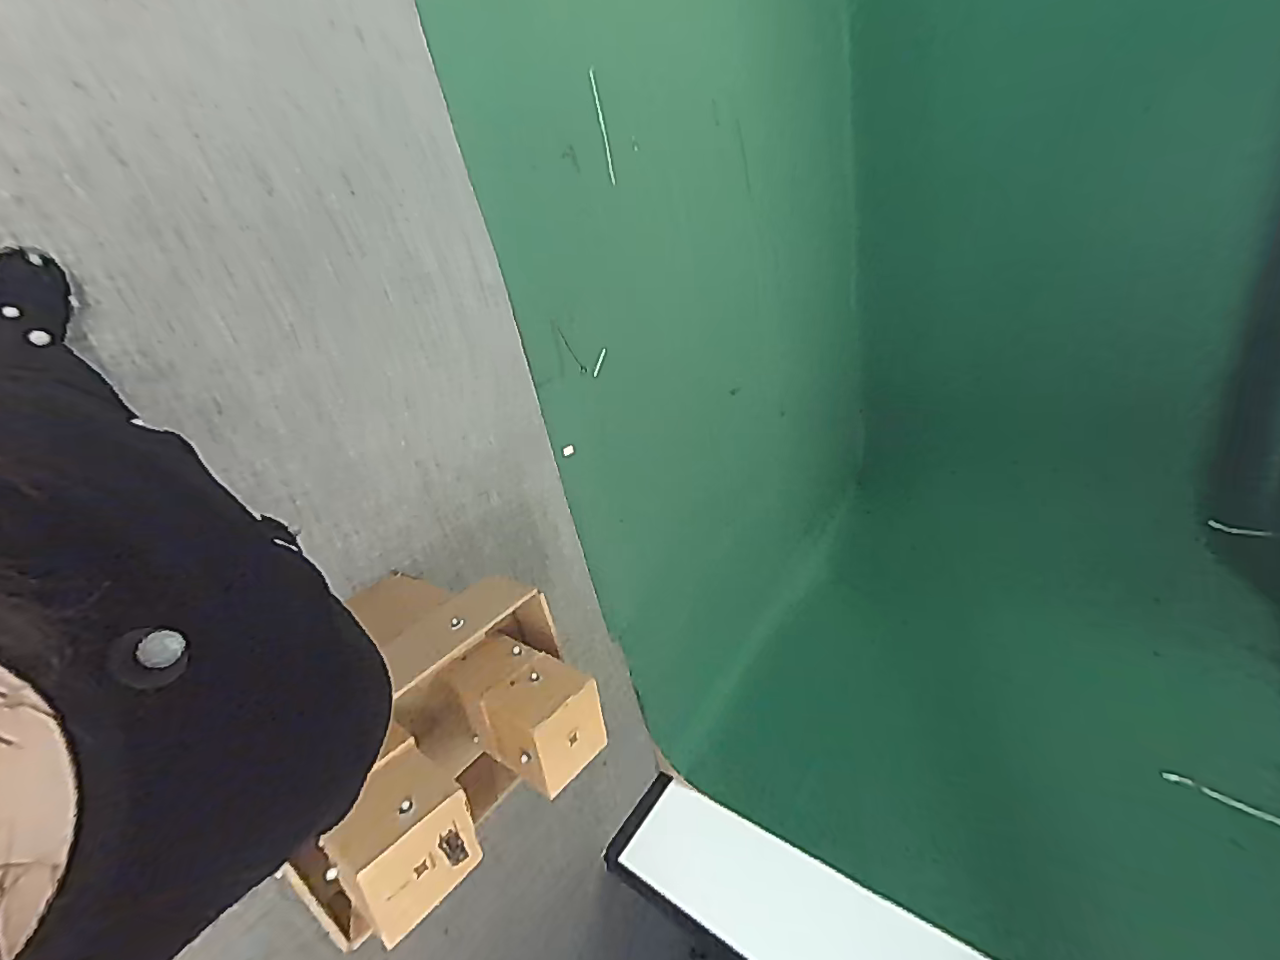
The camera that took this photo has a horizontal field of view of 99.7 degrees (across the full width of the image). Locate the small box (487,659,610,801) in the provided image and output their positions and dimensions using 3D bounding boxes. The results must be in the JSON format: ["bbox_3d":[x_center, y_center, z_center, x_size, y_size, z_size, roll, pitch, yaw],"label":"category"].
[{"bbox_3d":[-0.189,0.504,1.119,0.168,0.176,0.179,-28,117,-44],"label":"small box"}]

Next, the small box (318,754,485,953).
[{"bbox_3d":[-0.392,0.598,0.895,0.179,0.176,0.168,-27,116,-44],"label":"small box"}]
